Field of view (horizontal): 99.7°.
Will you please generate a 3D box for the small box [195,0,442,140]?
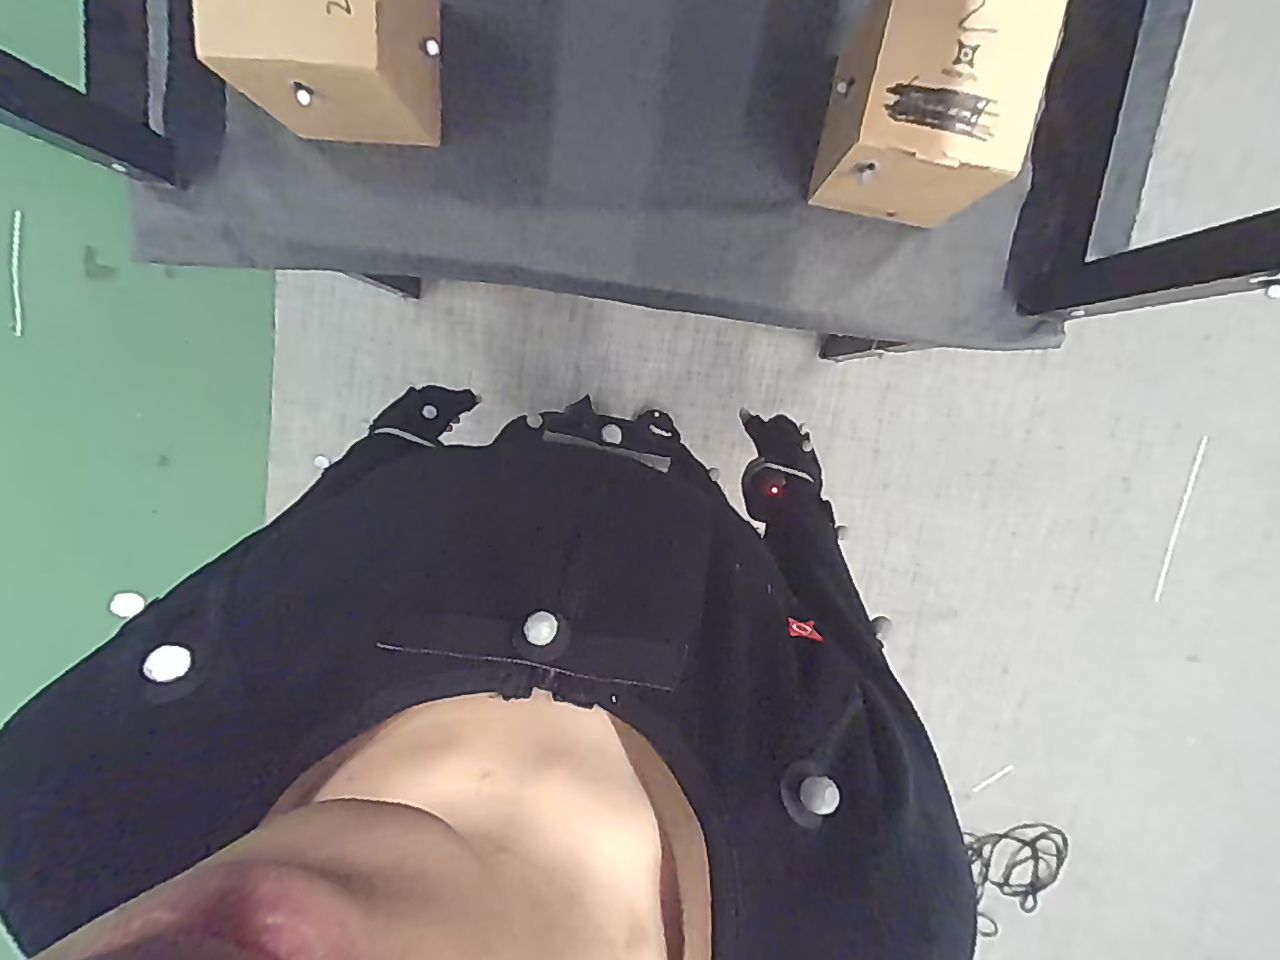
[{"bbox_3d":[-0.331,-0.494,0.582,0.179,0.176,0.168,3,100,-1],"label":"small box"}]
